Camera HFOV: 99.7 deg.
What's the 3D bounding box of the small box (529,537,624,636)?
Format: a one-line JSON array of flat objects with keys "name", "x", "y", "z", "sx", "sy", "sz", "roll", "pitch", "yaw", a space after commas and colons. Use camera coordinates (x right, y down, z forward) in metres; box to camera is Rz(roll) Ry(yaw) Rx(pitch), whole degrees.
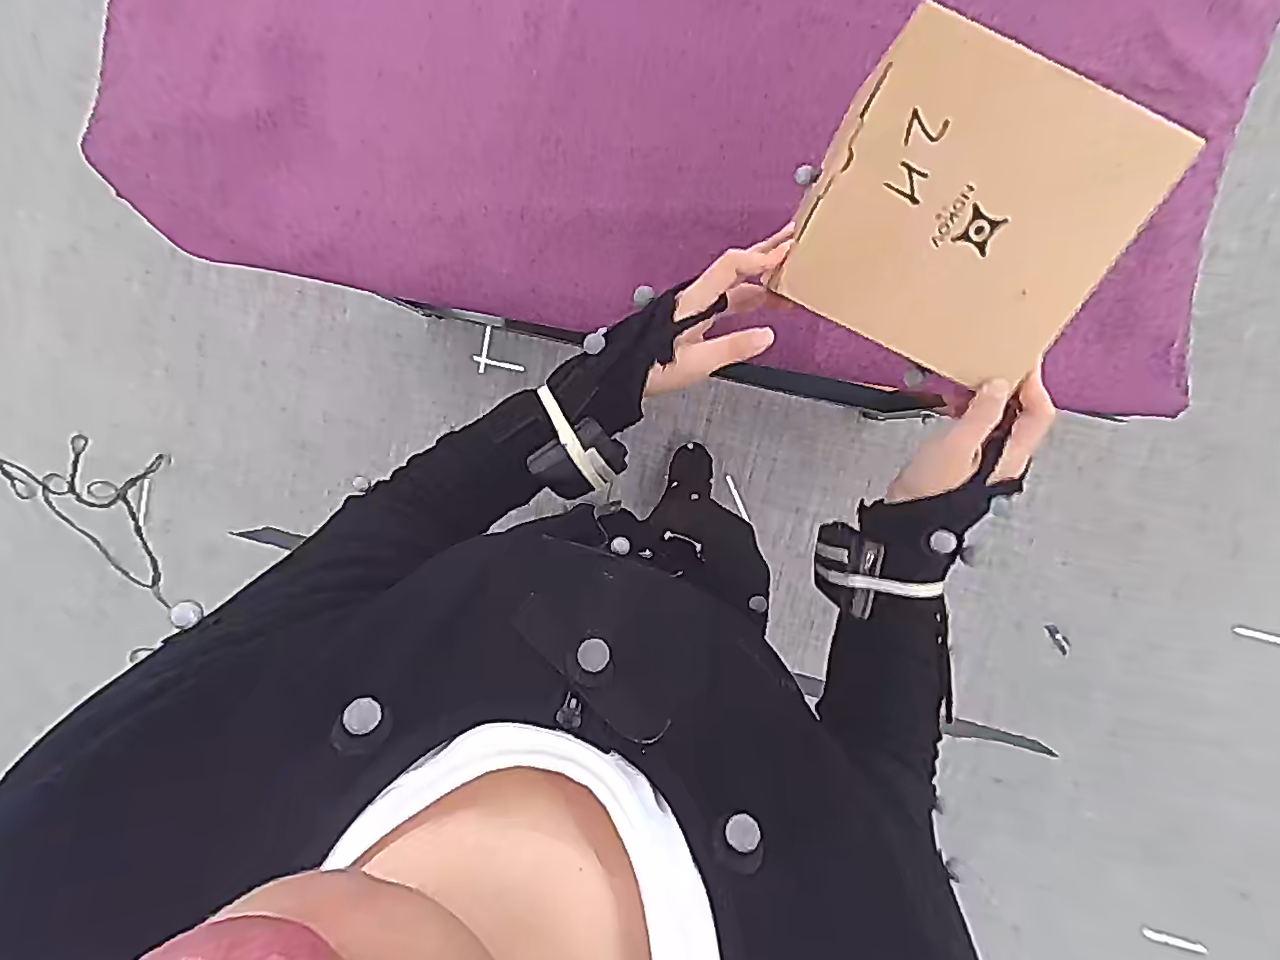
[{"name": "small box", "x": -0.153, "y": 0.248, "z": 1.288, "sx": 0.179, "sy": 0.176, "sz": 0.168, "roll": 30, "pitch": 84, "yaw": -3}]
